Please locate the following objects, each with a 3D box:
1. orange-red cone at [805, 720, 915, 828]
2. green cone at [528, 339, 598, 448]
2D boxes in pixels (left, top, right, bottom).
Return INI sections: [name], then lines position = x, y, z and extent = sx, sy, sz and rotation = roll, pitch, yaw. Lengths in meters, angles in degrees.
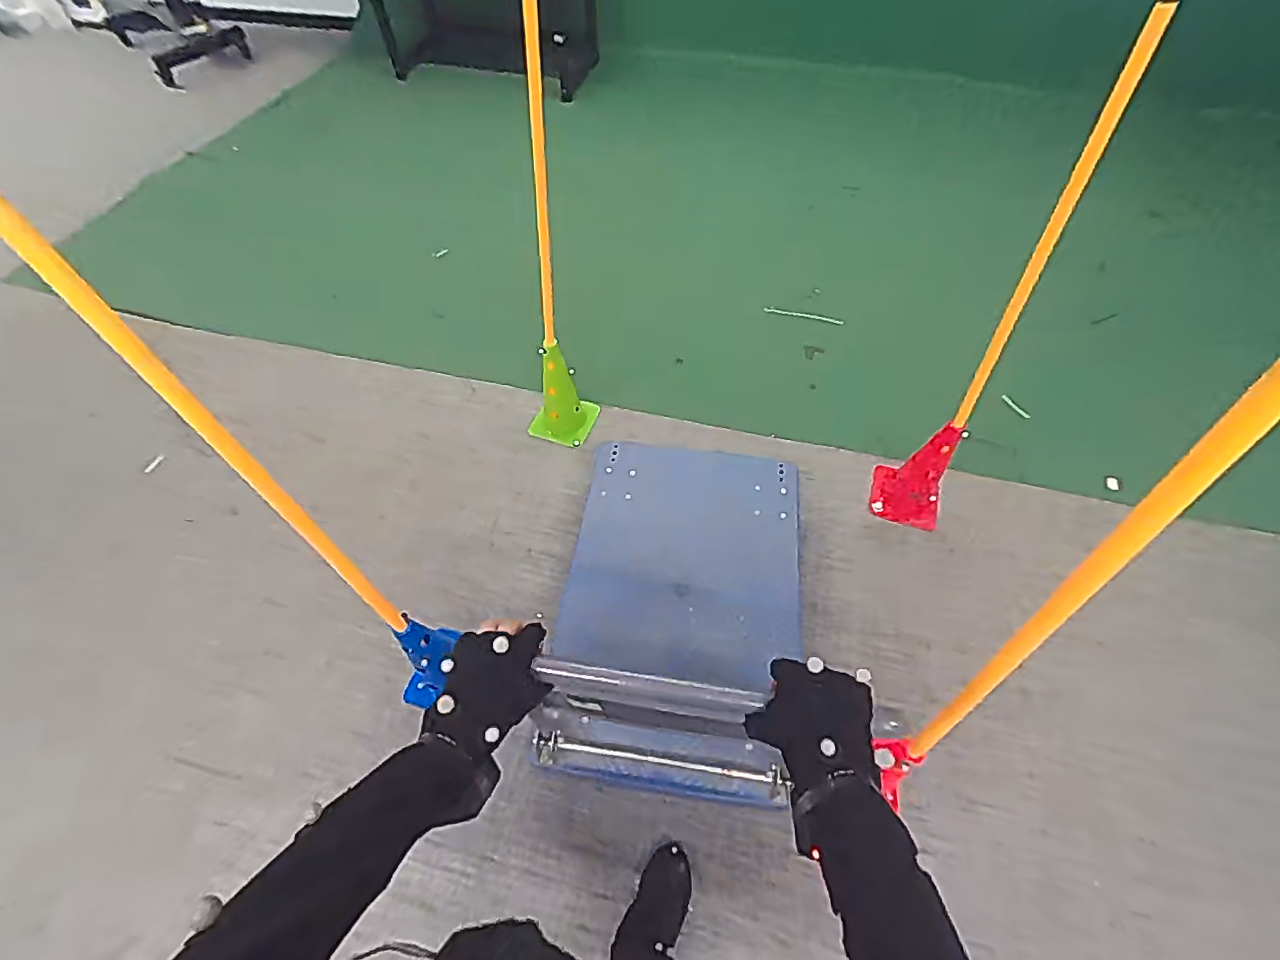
[orange-red cone]
position = 0.490, 0.591, 1.137
extent = 0.199, 0.360, 0.198
rotation = 11, 56, 10
[green cone]
position = -0.268, -0.302, 1.744
extent = 0.202, 0.368, 0.200
rotation = 15, 57, 12
